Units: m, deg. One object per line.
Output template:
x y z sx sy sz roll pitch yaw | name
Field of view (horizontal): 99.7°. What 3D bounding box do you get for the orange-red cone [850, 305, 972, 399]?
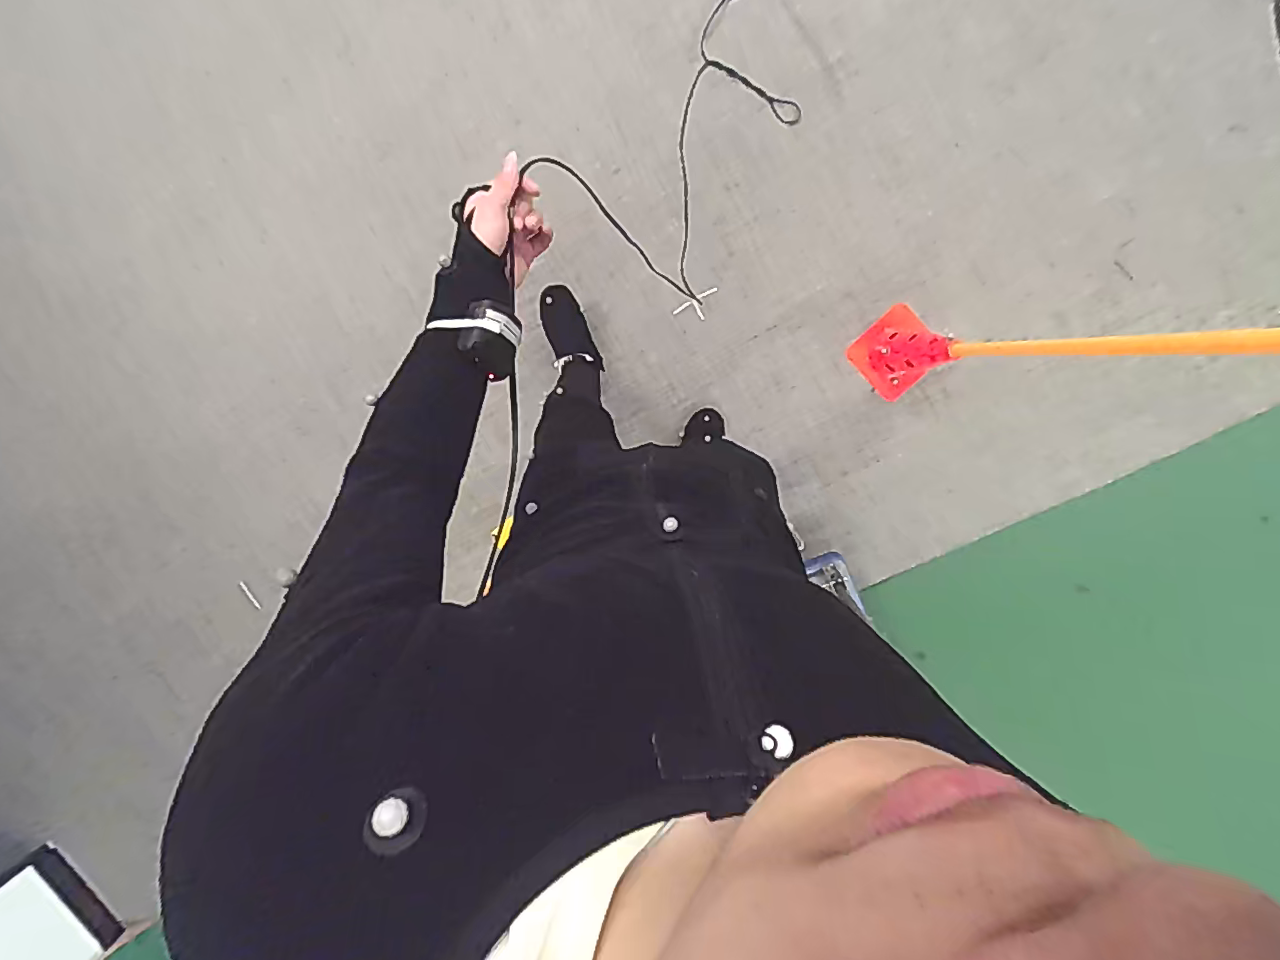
0.690 -0.313 1.304 0.199 0.360 0.198 -42 96 10 | orange-red cone
